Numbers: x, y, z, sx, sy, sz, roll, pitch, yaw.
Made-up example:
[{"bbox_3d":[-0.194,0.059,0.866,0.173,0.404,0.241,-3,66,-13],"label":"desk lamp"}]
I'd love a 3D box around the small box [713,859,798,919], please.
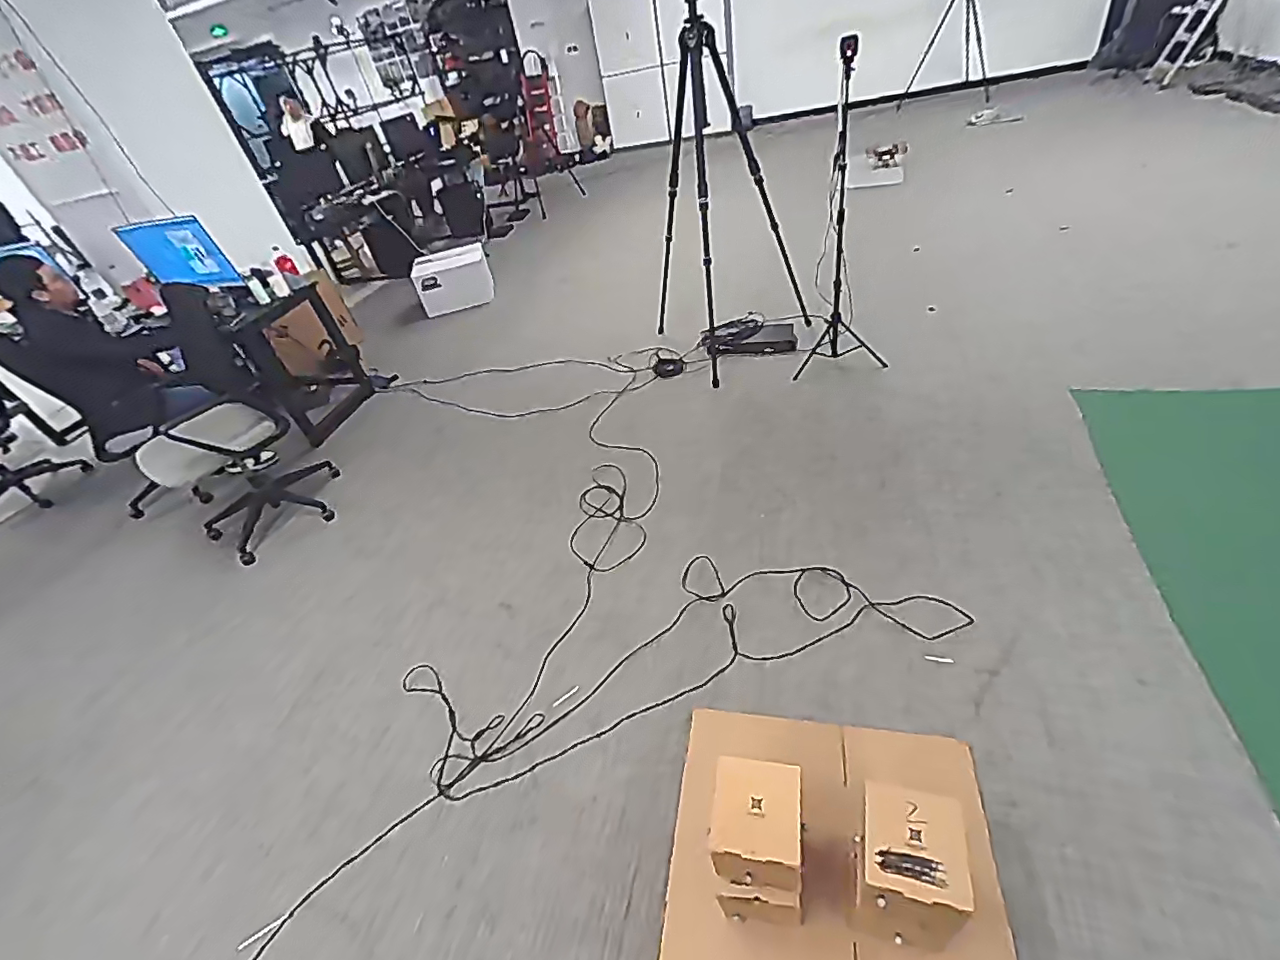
[{"bbox_3d":[0.257,0.826,1.181,0.168,0.176,0.179,-1,41,15],"label":"small box"}]

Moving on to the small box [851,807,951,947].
[{"bbox_3d":[0.528,0.818,1.116,0.168,0.176,0.179,3,43,20],"label":"small box"}]

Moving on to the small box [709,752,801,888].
[{"bbox_3d":[0.237,0.686,1.096,0.168,0.176,0.179,1,42,17],"label":"small box"}]
